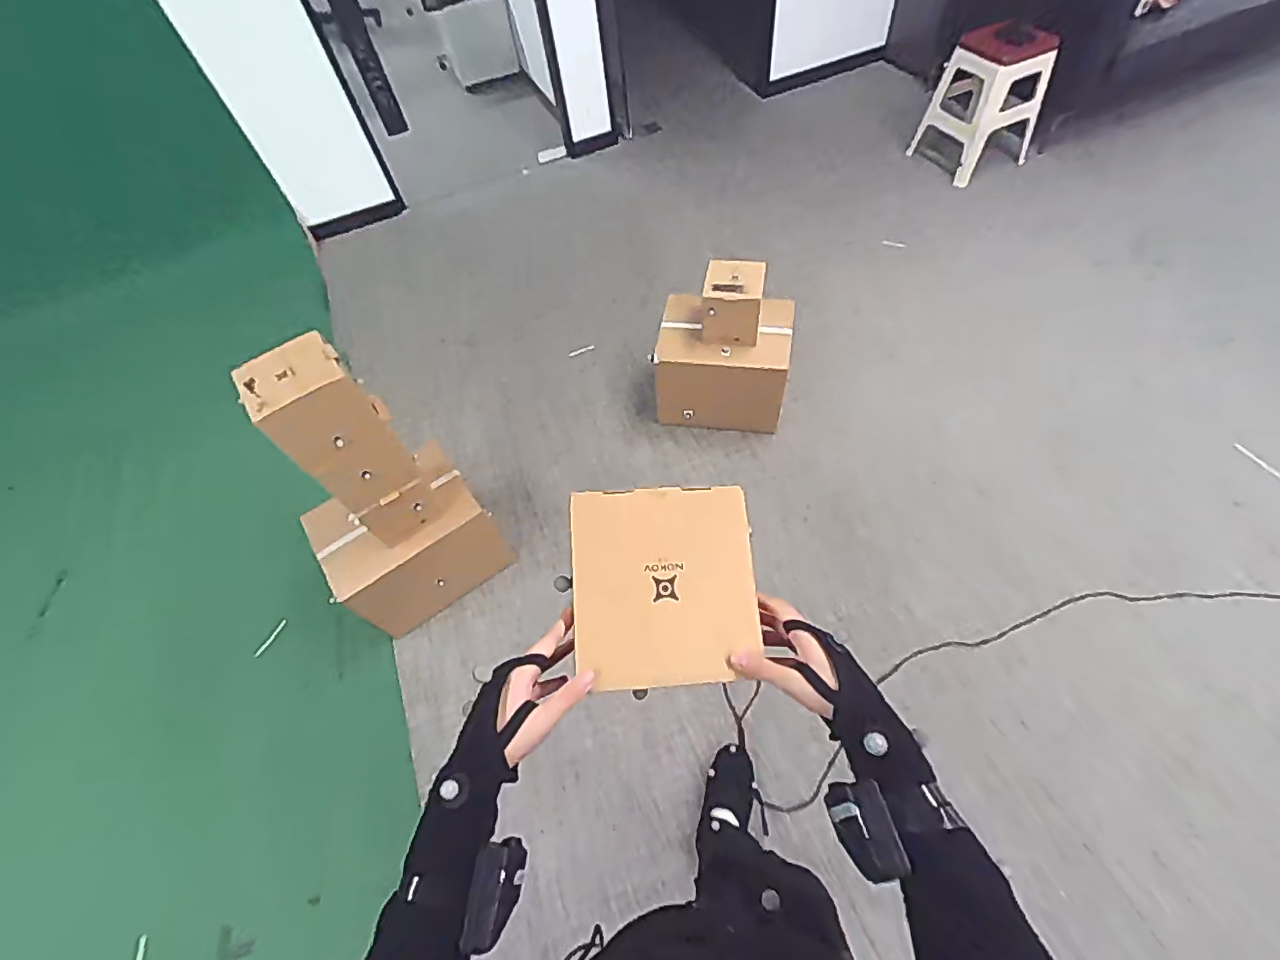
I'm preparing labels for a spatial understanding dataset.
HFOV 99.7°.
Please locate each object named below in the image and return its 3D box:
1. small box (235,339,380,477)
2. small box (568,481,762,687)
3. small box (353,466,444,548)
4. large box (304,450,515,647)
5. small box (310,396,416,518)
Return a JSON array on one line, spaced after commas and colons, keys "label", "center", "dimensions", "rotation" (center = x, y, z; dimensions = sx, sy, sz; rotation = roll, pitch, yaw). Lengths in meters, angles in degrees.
[{"label": "small box", "center": [-0.651, -0.141, 1.080], "dimensions": [0.179, 0.176, 0.168], "rotation": [-33, 59, -17]}, {"label": "small box", "center": [0.014, 0.110, 0.557], "dimensions": [0.168, 0.176, 0.179], "rotation": [-2, 72, -6]}, {"label": "small box", "center": [-0.618, 0.047, 1.348], "dimensions": [0.168, 0.176, 0.179], "rotation": [-33, 59, -16]}, {"label": "large box", "center": [-0.636, 0.198, 1.543], "dimensions": [0.408, 0.320, 0.320], "rotation": [-35, 58, -15]}, {"label": "small box", "center": [-0.632, -0.048, 1.215], "dimensions": [0.179, 0.176, 0.168], "rotation": [-35, 59, -16]}]
